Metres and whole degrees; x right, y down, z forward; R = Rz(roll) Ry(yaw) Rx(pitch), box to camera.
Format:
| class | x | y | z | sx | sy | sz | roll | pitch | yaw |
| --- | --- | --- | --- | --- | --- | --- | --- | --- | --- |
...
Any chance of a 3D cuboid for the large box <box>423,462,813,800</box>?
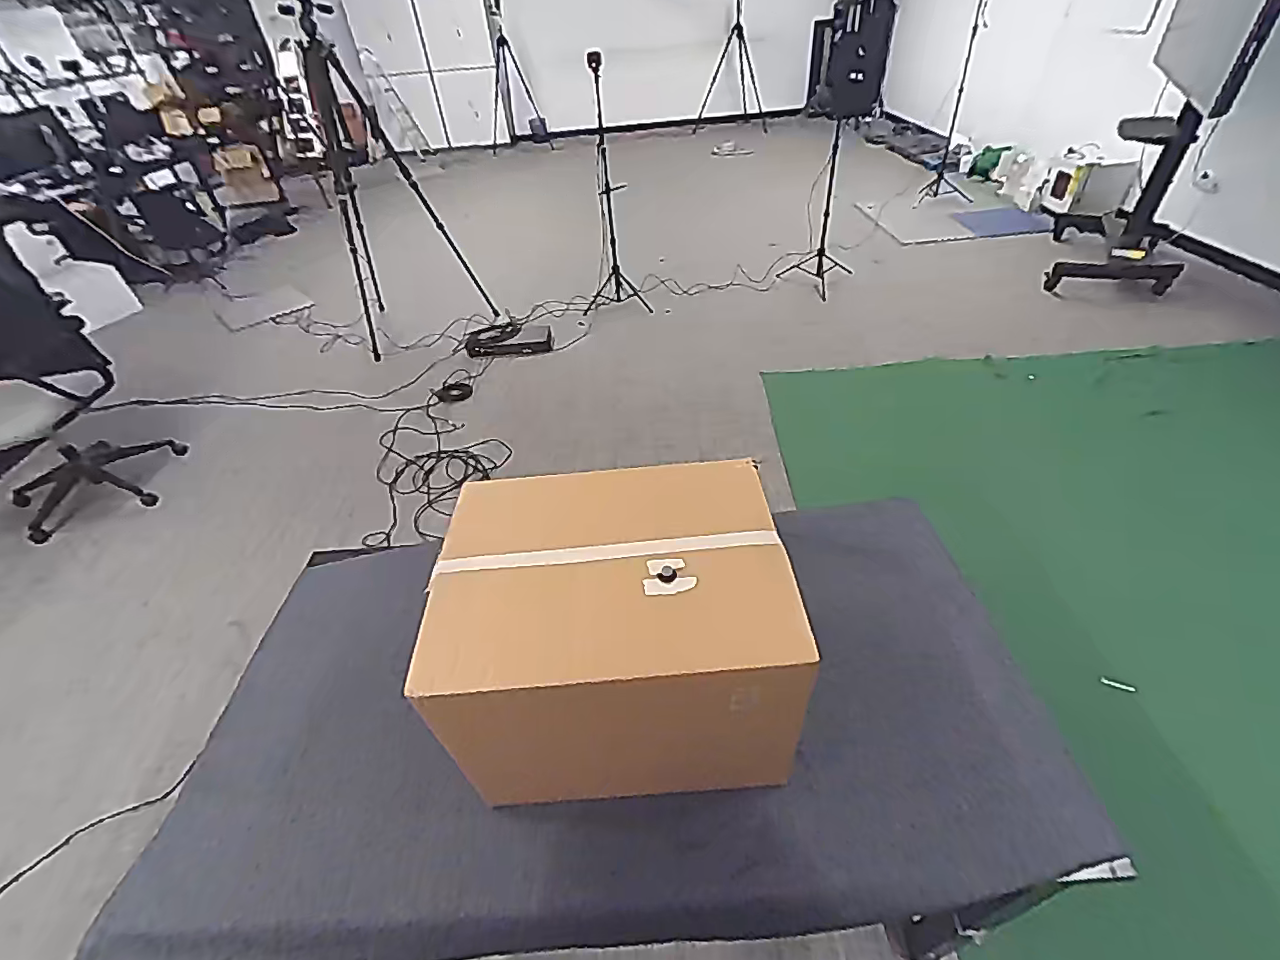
| class | x | y | z | sx | sy | sz | roll | pitch | yaw |
| --- | --- | --- | --- | --- | --- | --- | --- | --- | --- |
| large box | -0.023 | 0.205 | 0.746 | 0.408 | 0.320 | 0.320 | -5 | 42 | 0 |
